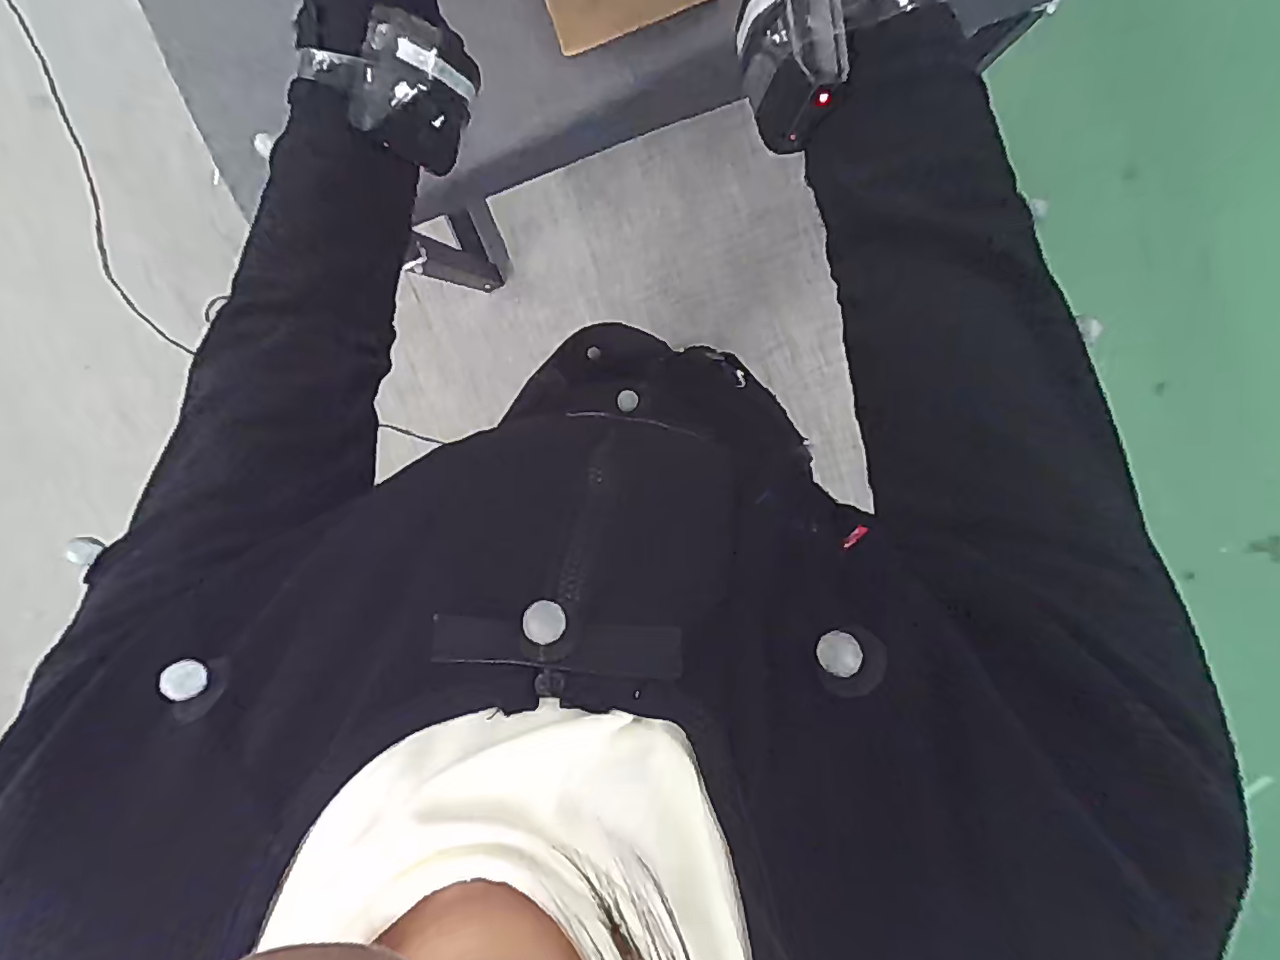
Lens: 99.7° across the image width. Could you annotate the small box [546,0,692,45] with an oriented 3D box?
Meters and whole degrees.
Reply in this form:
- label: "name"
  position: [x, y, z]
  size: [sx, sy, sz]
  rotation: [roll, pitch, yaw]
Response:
- label: "small box"
  position: [-0.028, -0.533, 0.468]
  size: [0.179, 0.176, 0.168]
  rotation: [-16, 101, 9]
